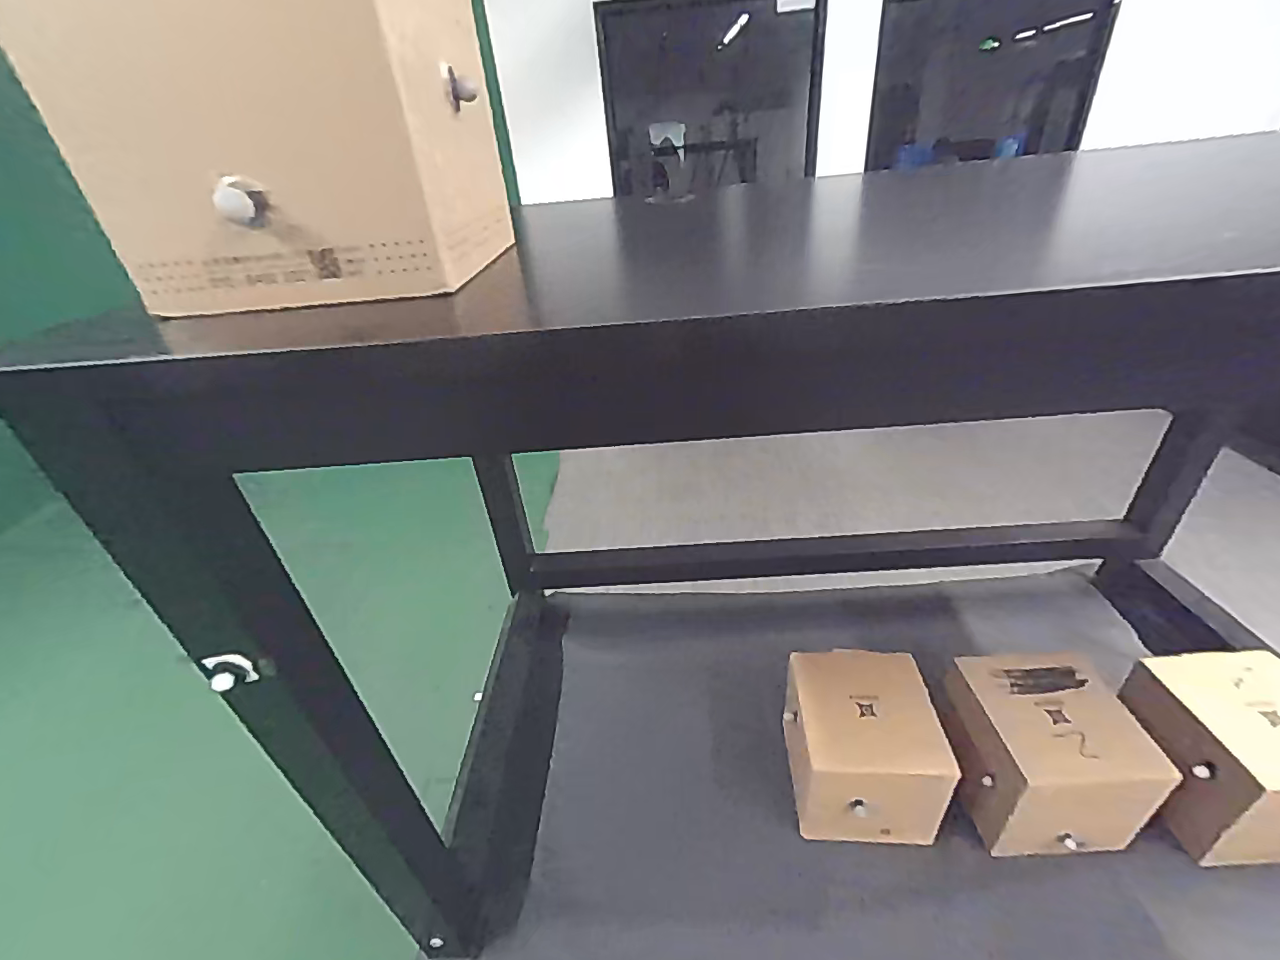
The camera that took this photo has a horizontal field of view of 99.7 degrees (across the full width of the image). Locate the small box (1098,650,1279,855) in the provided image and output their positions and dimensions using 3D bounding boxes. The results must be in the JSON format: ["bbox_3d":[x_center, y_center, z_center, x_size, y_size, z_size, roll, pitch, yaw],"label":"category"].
[{"bbox_3d":[0.741,0.342,0.678,0.168,0.176,0.179,-5,31,2],"label":"small box"}]

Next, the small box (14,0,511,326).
[{"bbox_3d":[-0.183,-0.199,0.321,0.168,0.176,0.179,-4,33,2],"label":"small box"}]

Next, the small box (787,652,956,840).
[{"bbox_3d":[0.296,0.358,0.736,0.168,0.176,0.179,-2,32,7],"label":"small box"}]
